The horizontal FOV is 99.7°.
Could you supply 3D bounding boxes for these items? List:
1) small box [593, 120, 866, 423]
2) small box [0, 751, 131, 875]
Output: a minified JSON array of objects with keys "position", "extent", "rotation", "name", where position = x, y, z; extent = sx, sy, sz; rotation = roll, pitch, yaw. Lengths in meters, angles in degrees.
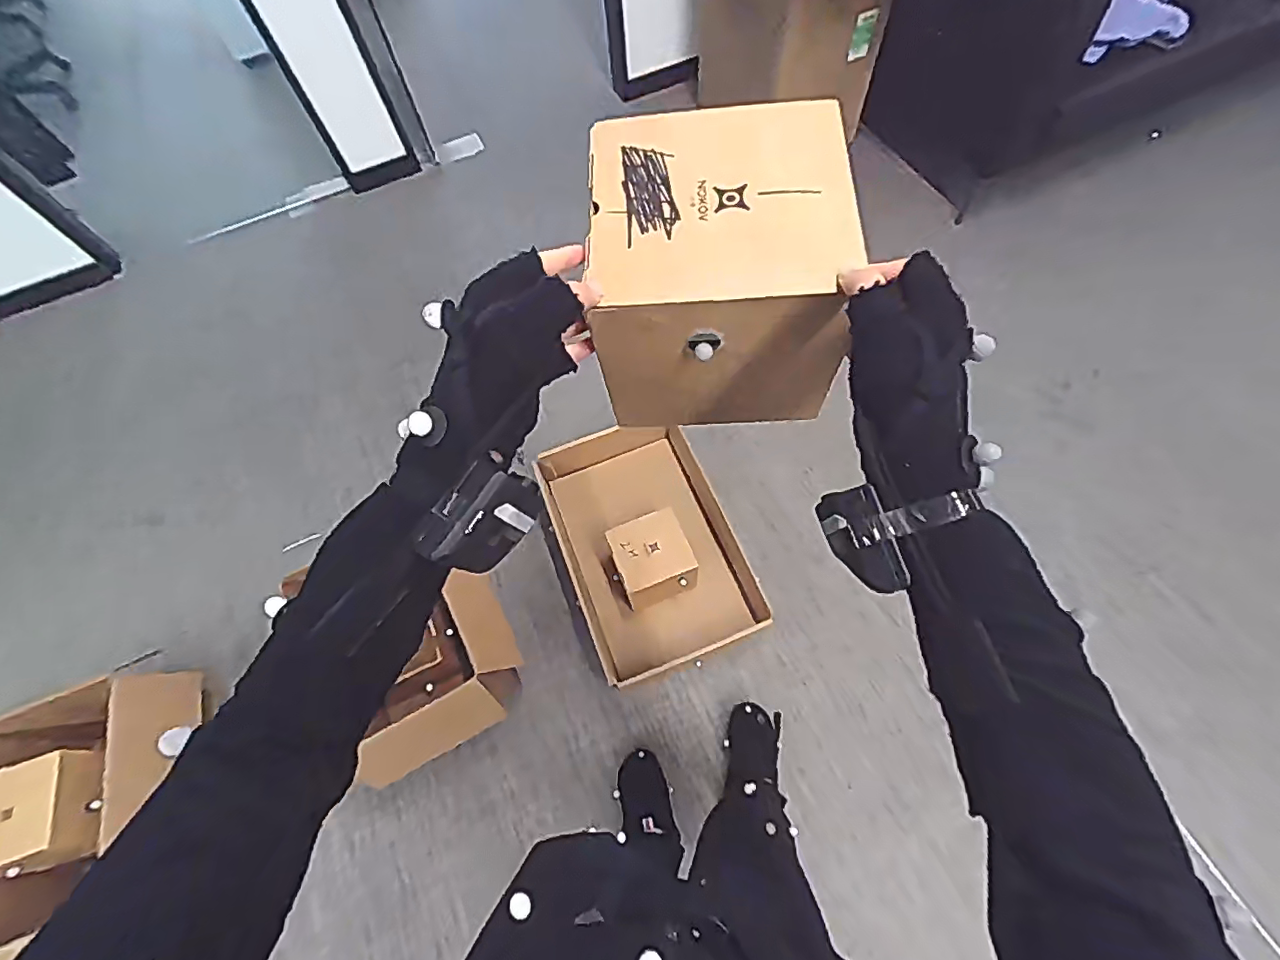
[{"position":[0.064,-0.156,0.447],"extent":[0.179,0.176,0.168],"rotation":[-1,68,4],"name":"small box"},{"position":[-1.138,0.634,1.037],"extent":[0.179,0.176,0.168],"rotation":[-19,64,-7],"name":"small box"}]
